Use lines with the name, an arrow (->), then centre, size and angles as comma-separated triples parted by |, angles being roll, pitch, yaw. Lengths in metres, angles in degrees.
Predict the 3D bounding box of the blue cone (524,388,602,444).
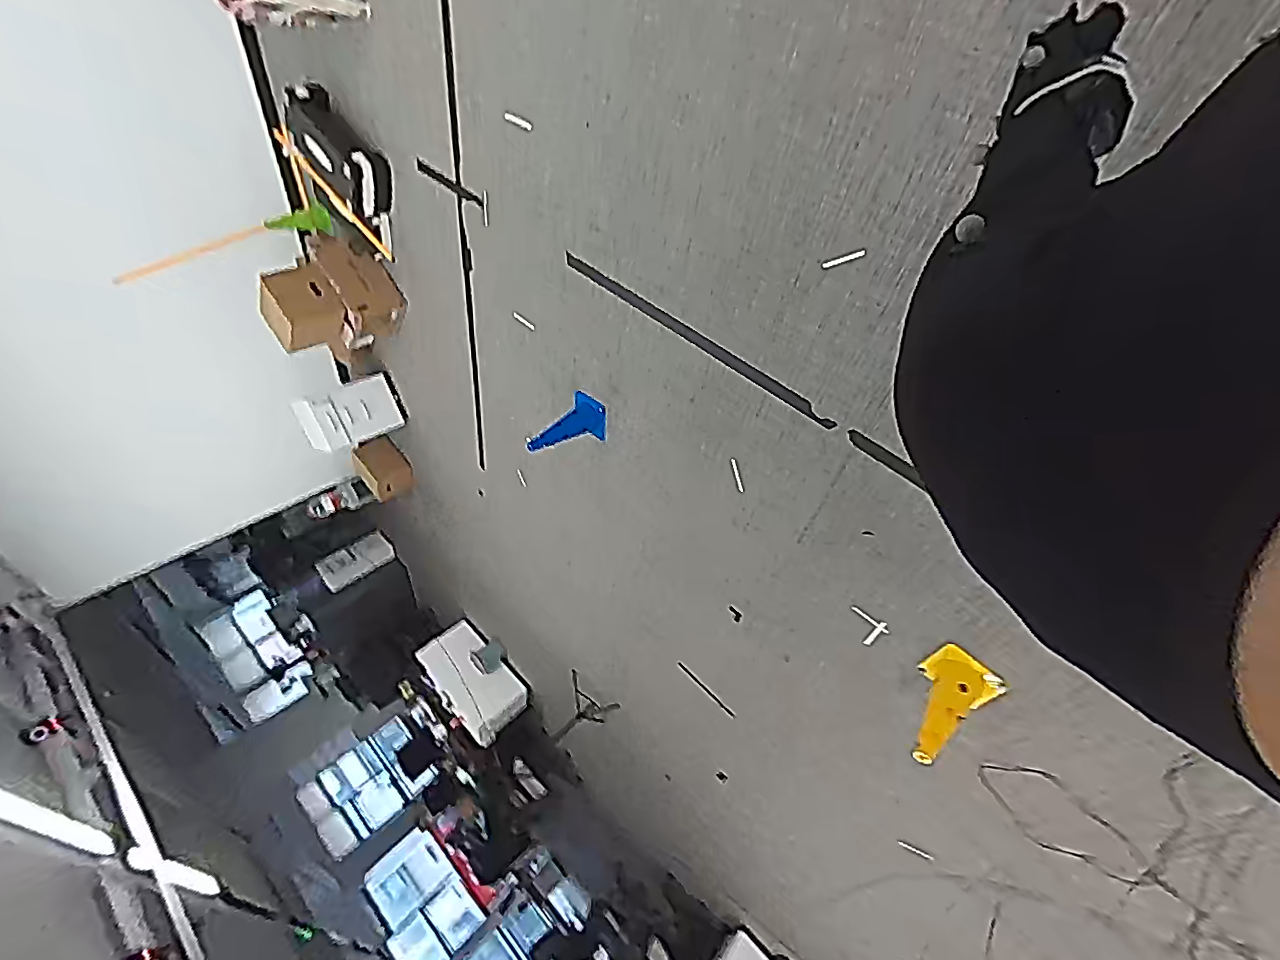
blue cone -> -0.355, -0.242, 2.408 | 0.193, 0.380, 0.192 | 35, 139, 27
